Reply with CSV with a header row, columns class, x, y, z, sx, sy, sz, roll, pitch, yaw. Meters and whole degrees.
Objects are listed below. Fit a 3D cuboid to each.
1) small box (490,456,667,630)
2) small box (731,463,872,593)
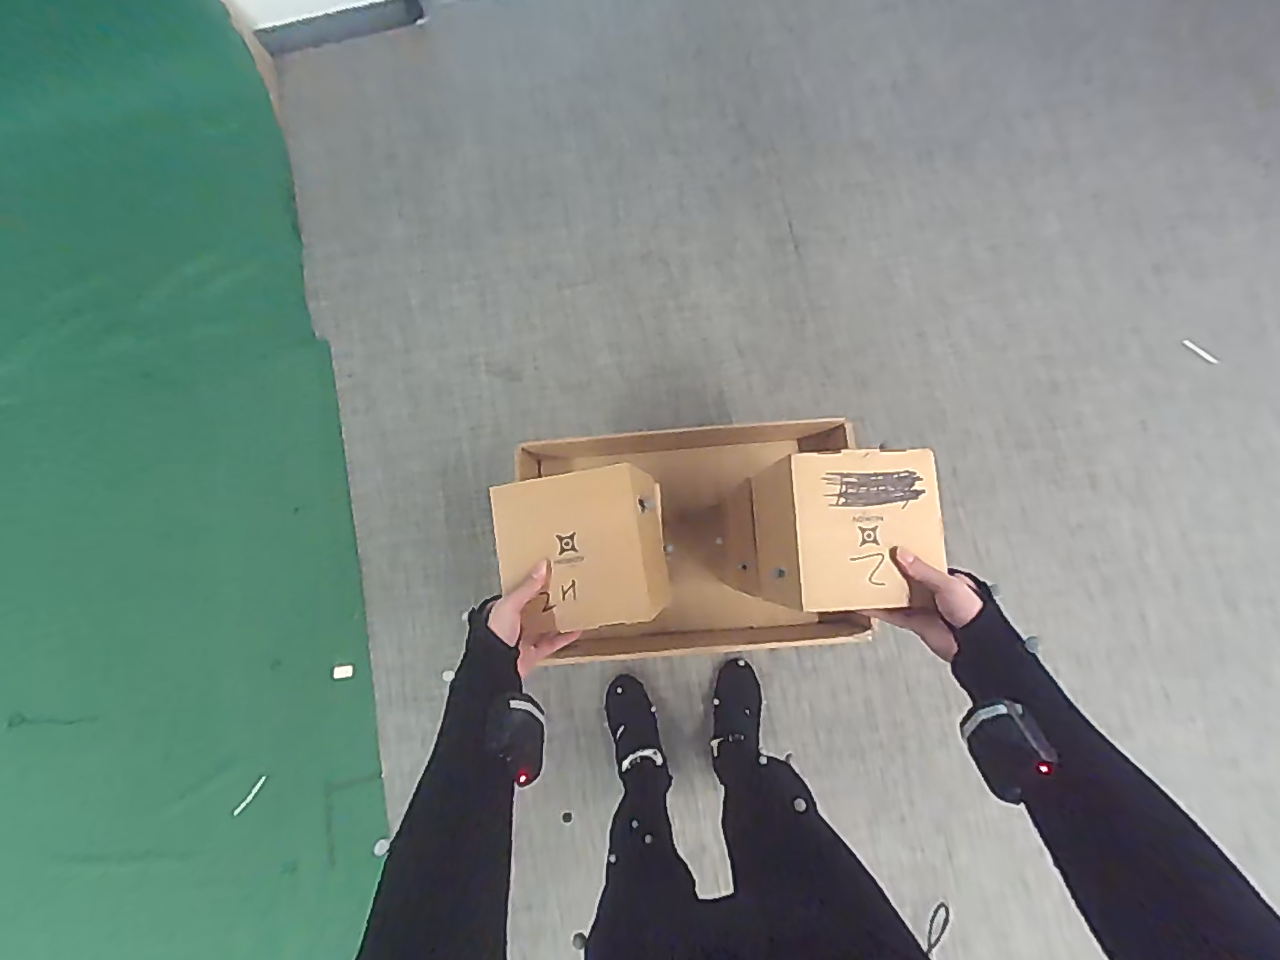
class,x,y,z,sx,sy,sz,roll,pitch,yaw
small box,-0.068,0.079,0.680,0.168,0.176,0.179,-11,83,11
small box,0.239,0.077,0.840,0.168,0.176,0.179,-4,81,1
